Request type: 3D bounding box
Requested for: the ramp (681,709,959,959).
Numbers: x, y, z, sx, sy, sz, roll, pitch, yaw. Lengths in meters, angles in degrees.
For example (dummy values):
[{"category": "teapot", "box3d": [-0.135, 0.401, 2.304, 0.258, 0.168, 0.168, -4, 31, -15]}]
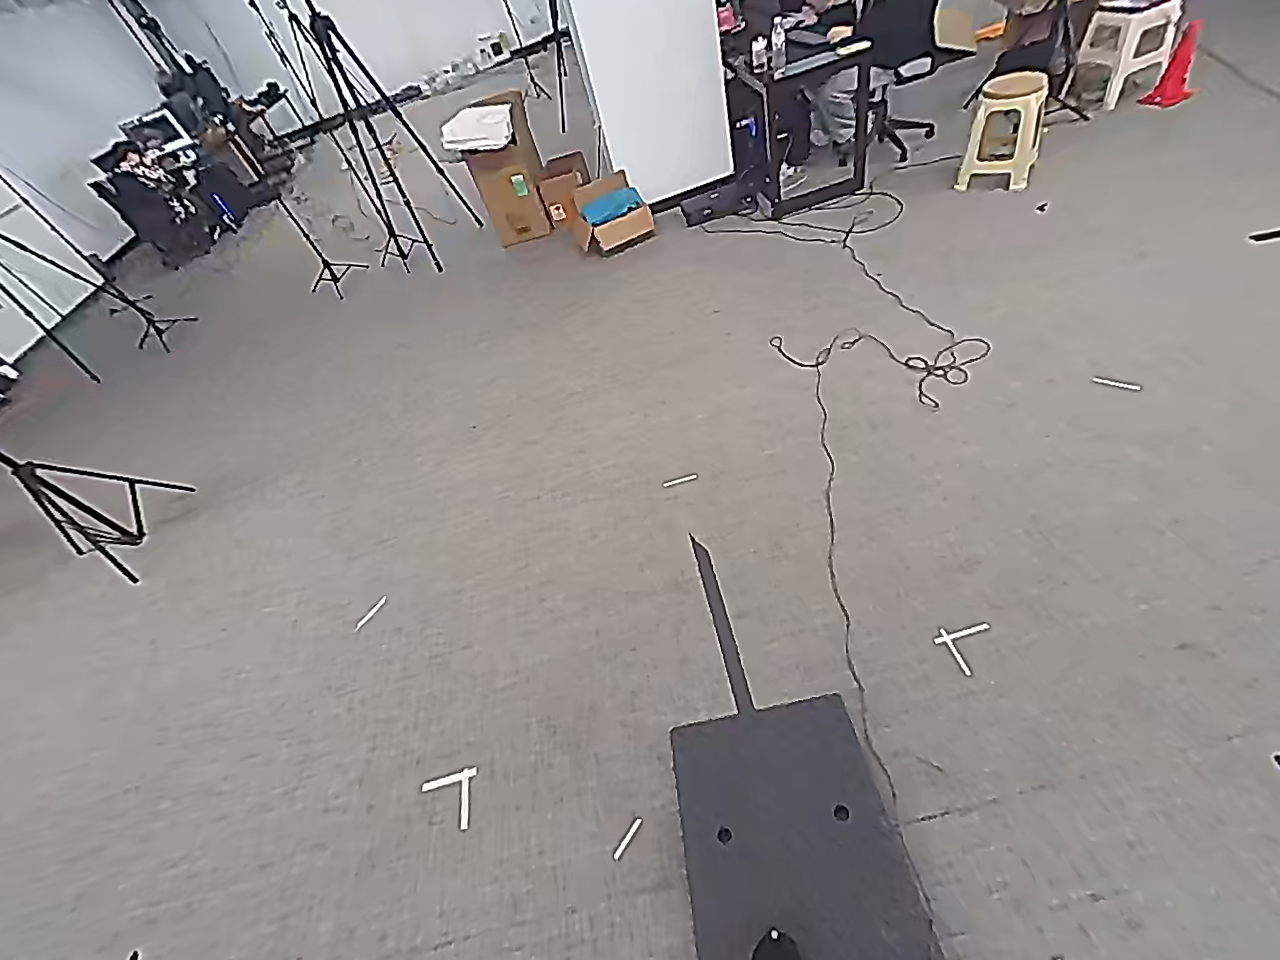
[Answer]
[{"category": "ramp", "box3d": [0.387, 0.984, 1.114, 0.509, 0.206, 0.991, -18, 44, 5]}]
